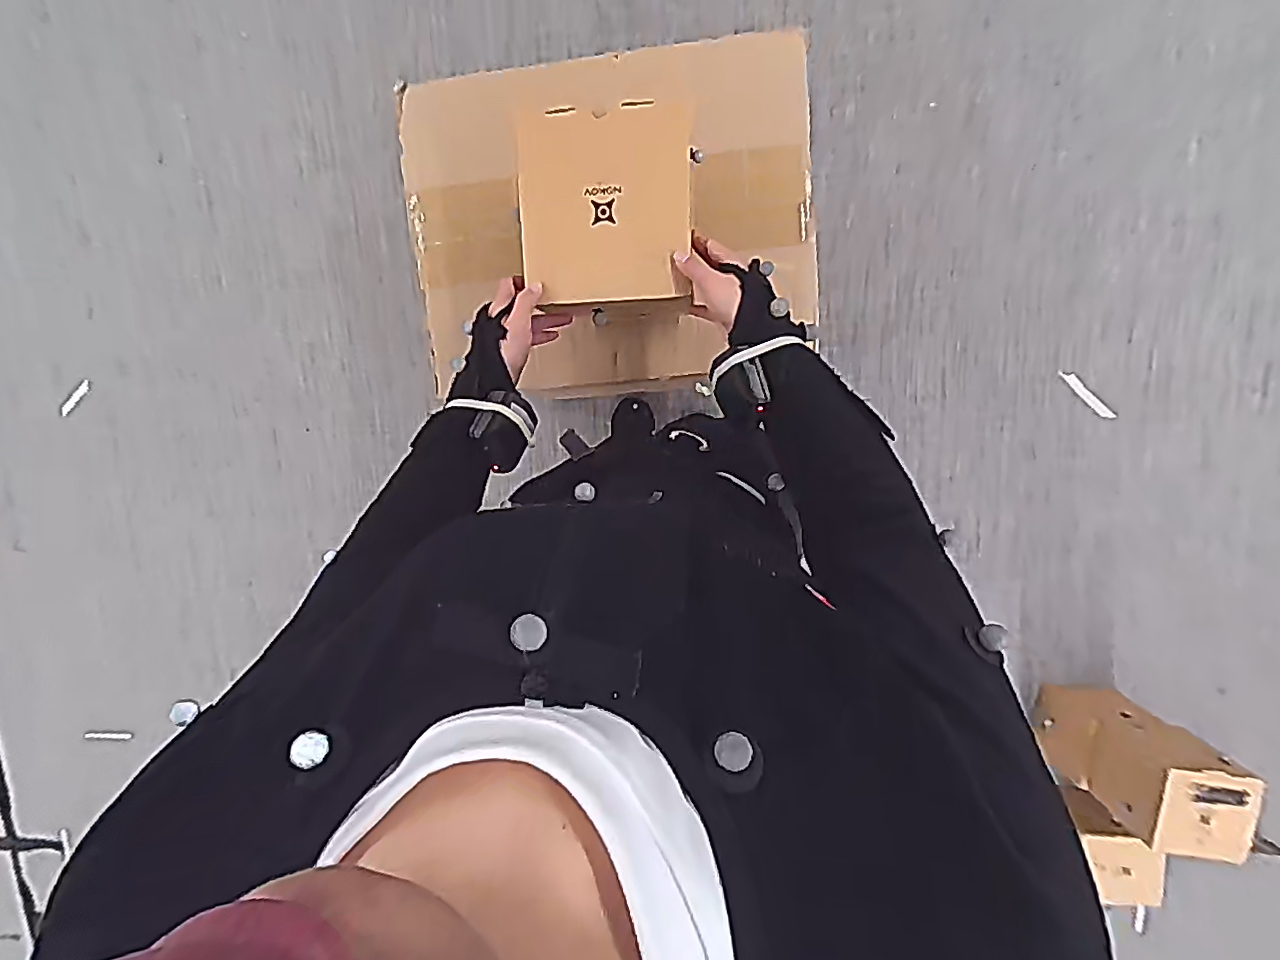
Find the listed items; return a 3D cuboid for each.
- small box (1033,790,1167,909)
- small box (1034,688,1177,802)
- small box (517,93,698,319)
[{"bbox_3d":[1.083,0.869,1.285,0.179,0.176,0.168,0,95,6],"label":"small box"},{"bbox_3d":[1.069,0.605,1.255,0.179,0.176,0.168,5,97,6],"label":"small box"},{"bbox_3d":[-0.021,-0.272,0.583,0.168,0.176,0.179,-1,99,6],"label":"small box"}]
